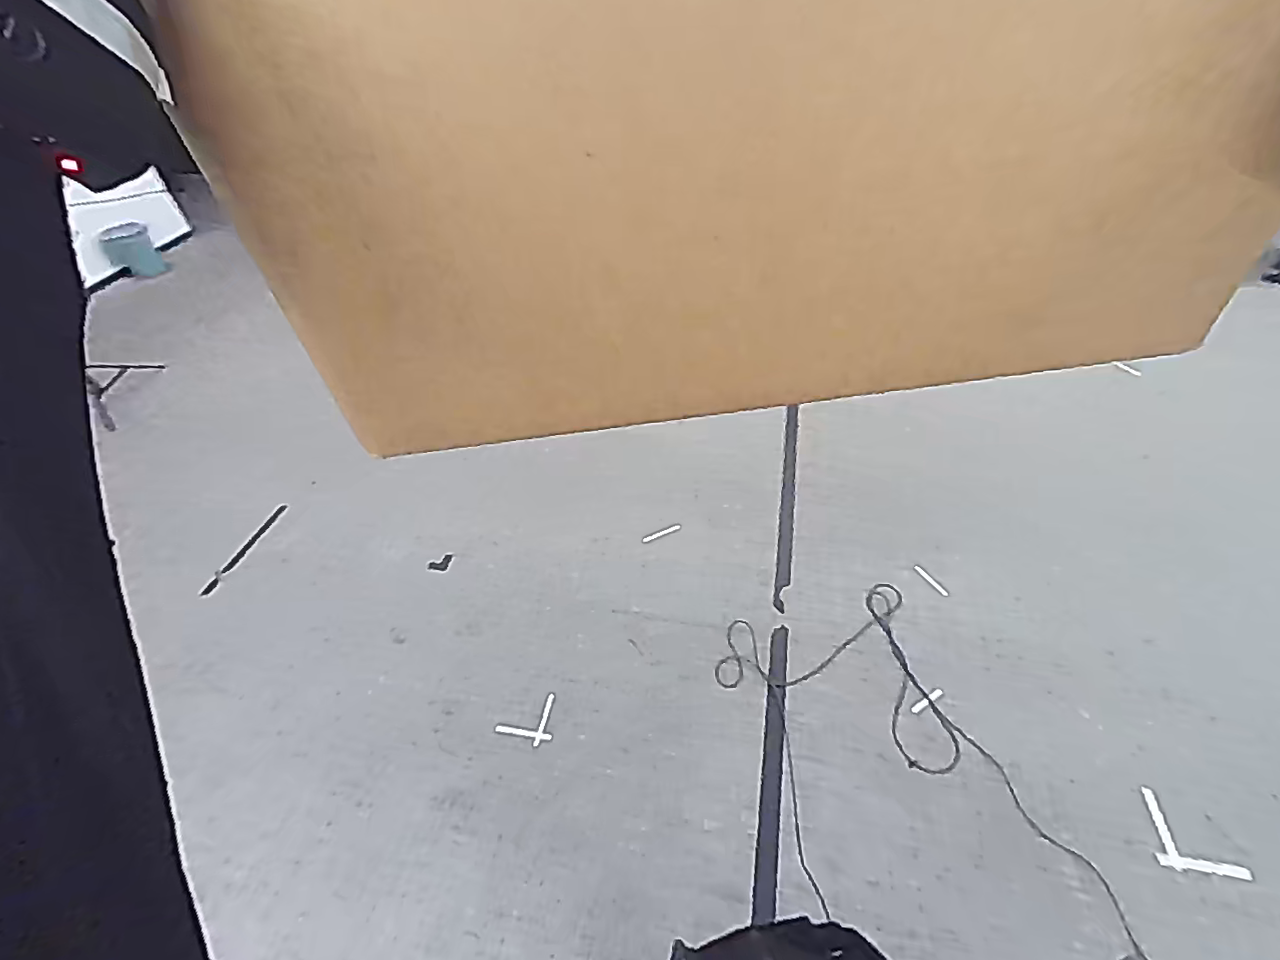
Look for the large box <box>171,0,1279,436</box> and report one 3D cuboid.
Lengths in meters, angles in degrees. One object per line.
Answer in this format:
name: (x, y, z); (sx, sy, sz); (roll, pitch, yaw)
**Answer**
large box: (0.041, -0.252, 0.282); (0.408, 0.320, 0.320); (-7, 43, -1)
